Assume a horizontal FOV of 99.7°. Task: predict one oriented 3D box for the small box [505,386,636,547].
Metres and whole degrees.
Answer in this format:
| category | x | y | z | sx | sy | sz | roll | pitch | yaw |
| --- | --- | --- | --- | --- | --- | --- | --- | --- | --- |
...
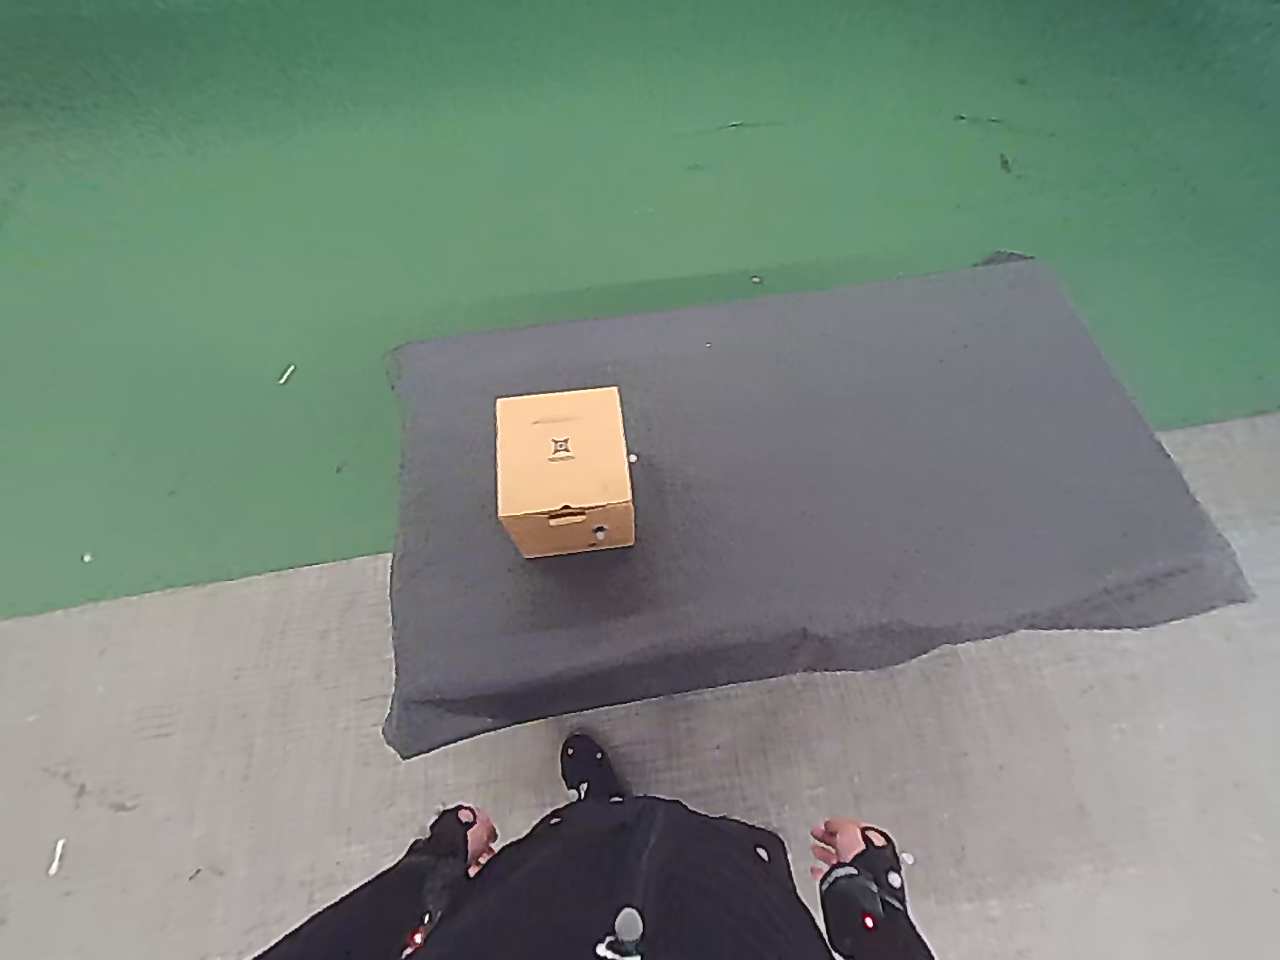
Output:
| category | x | y | z | sx | sy | sz | roll | pitch | yaw |
| --- | --- | --- | --- | --- | --- | --- | --- | --- | --- |
| small box | -0.095 | -0.010 | 0.773 | 0.168 | 0.176 | 0.179 | -6 | 64 | -5 |
